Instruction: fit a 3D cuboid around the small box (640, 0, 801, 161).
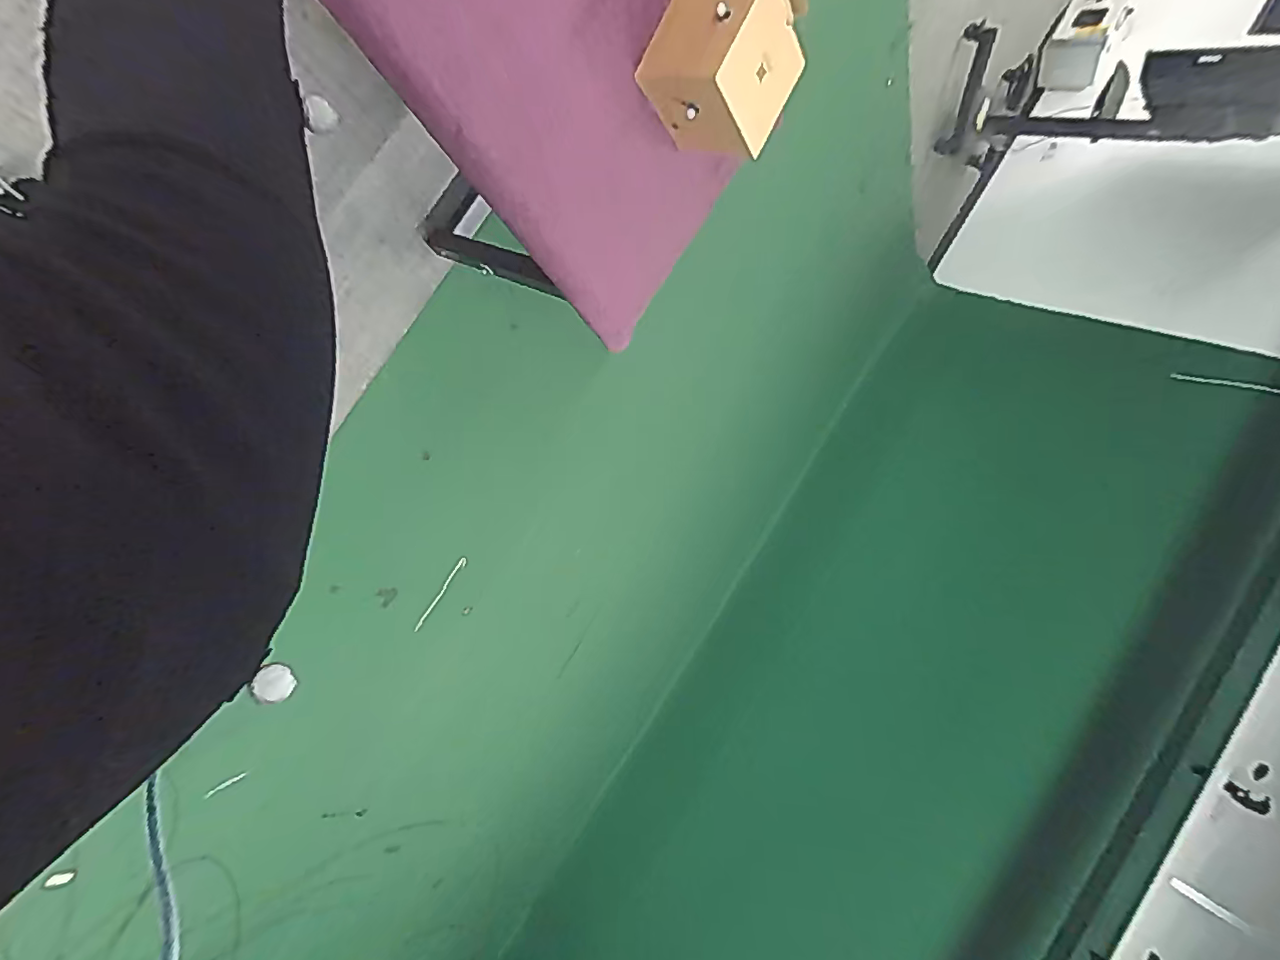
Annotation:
[{"bbox_3d":[0.123,-0.650,0.865,0.168,0.176,0.179,23,95,-55],"label":"small box"}]
